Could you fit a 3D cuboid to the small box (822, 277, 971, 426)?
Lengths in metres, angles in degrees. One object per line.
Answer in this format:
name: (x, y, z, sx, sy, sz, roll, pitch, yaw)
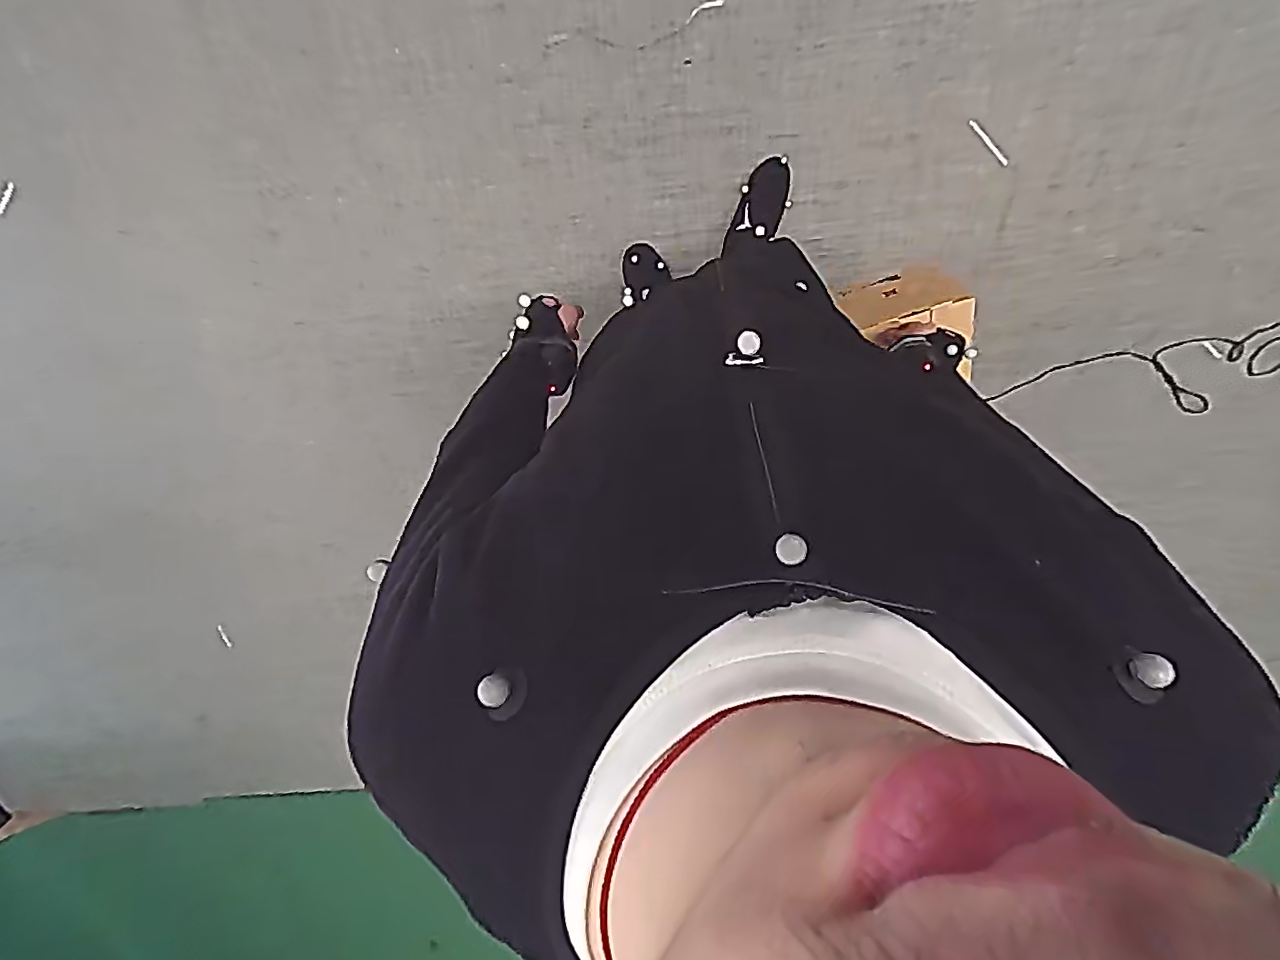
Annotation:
small box: (0.418, -0.205, 0.886, 0.168, 0.179, 0.176, -17, 121, 9)
